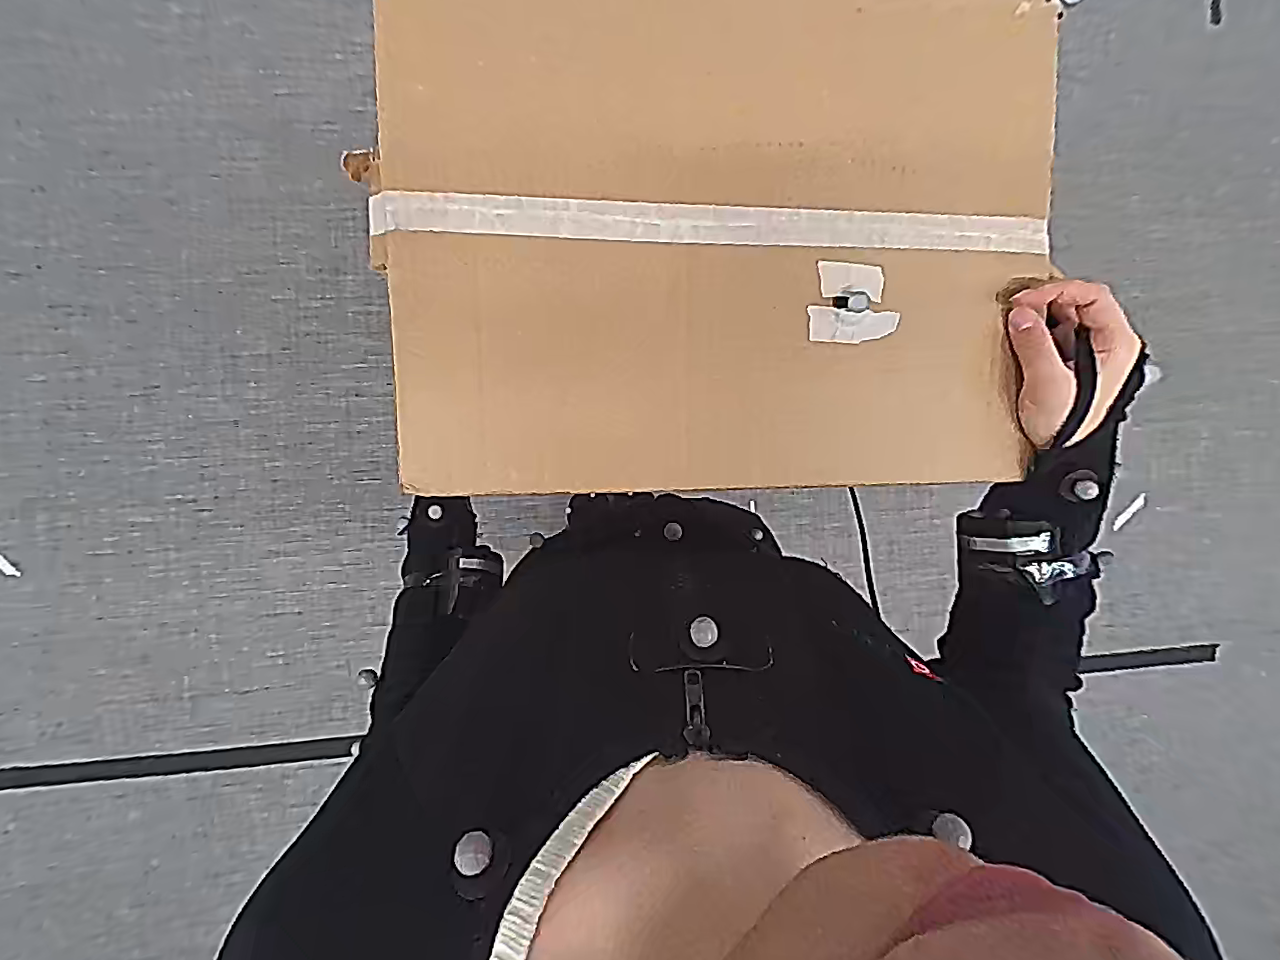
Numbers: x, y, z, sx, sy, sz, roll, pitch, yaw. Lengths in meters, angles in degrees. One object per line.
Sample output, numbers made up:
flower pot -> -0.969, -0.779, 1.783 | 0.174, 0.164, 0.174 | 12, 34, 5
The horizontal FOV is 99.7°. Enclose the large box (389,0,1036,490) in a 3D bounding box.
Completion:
large box -> 0.038, -0.168, 0.477 | 0.408, 0.320, 0.320 | -2, 96, -9
